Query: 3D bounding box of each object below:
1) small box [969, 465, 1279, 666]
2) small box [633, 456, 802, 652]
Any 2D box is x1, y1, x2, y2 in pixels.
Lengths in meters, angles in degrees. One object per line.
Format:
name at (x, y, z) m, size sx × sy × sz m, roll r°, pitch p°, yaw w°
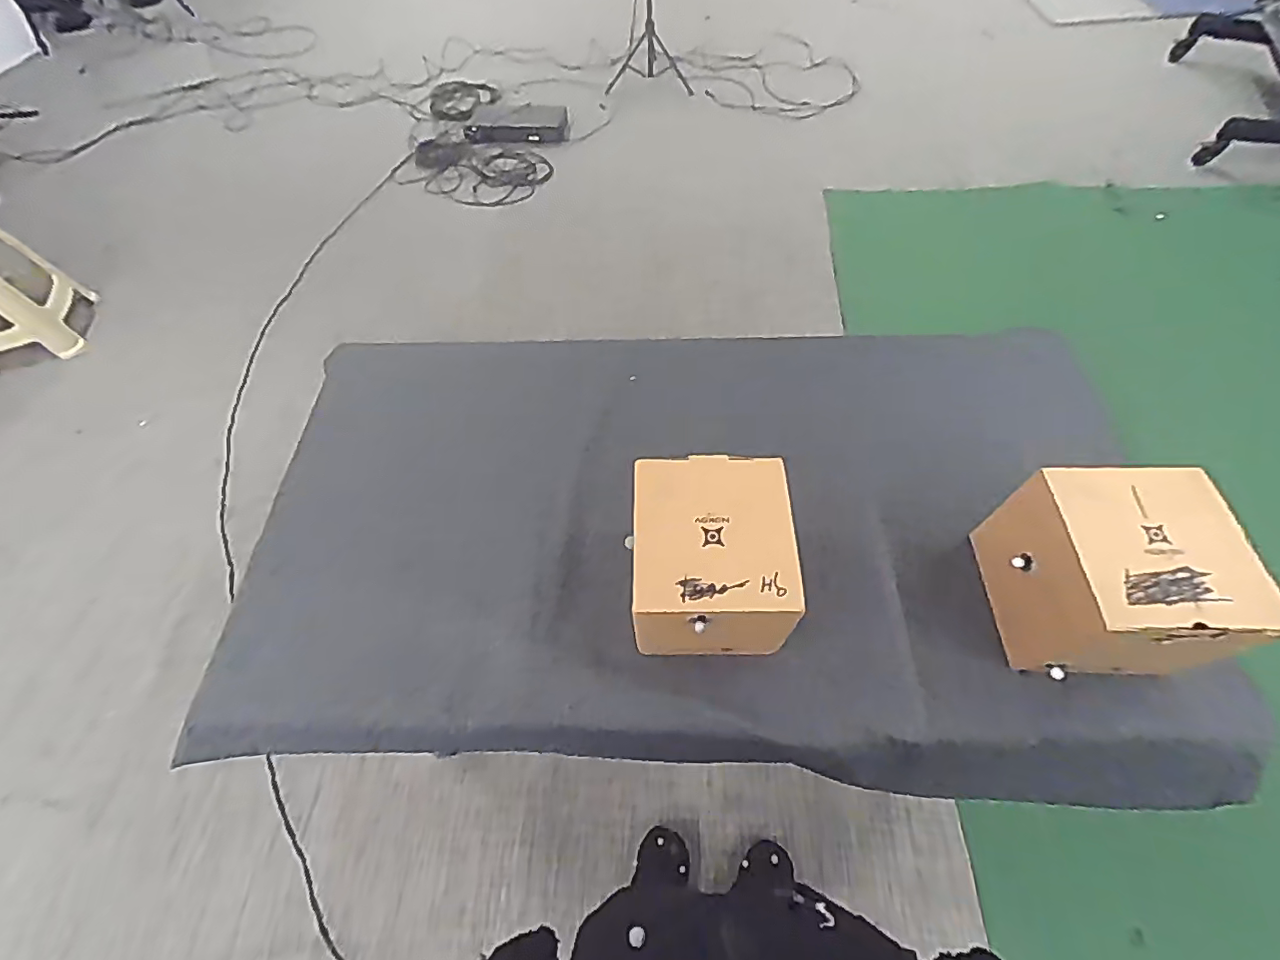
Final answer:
small box at (0.505, 0.101, 0.600) m, size 0.168 × 0.176 × 0.179 m, roll 0°, pitch 58°, yaw 4°
small box at (0.079, 0.089, 0.630) m, size 0.168 × 0.176 × 0.179 m, roll -1°, pitch 59°, yaw 3°
